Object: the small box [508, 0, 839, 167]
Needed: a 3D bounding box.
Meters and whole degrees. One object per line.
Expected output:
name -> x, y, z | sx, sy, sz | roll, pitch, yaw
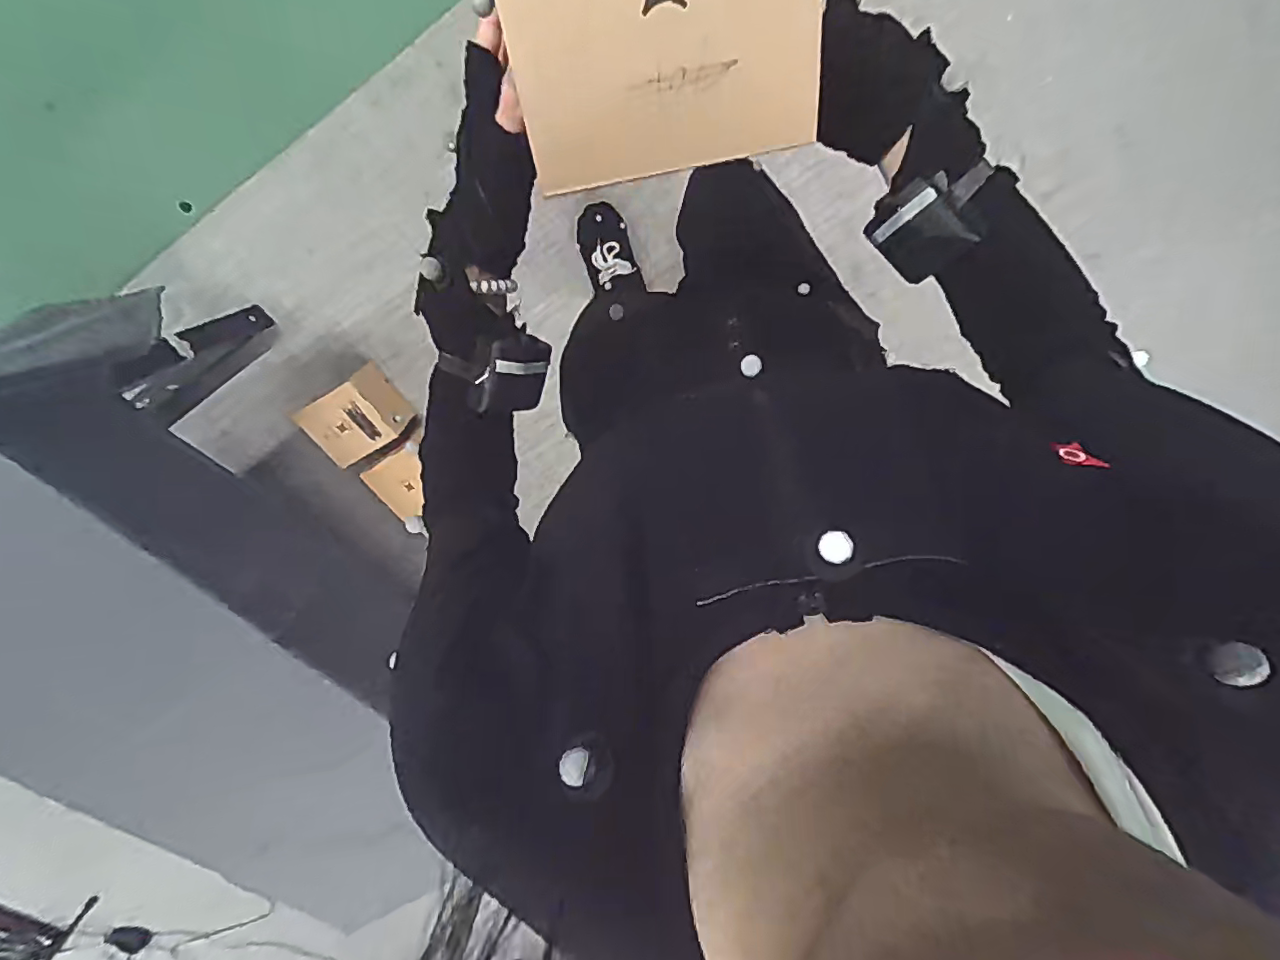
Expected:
small box -> 0.004, -0.301, 0.311 | 0.168, 0.176, 0.179 | -11, 129, -1
